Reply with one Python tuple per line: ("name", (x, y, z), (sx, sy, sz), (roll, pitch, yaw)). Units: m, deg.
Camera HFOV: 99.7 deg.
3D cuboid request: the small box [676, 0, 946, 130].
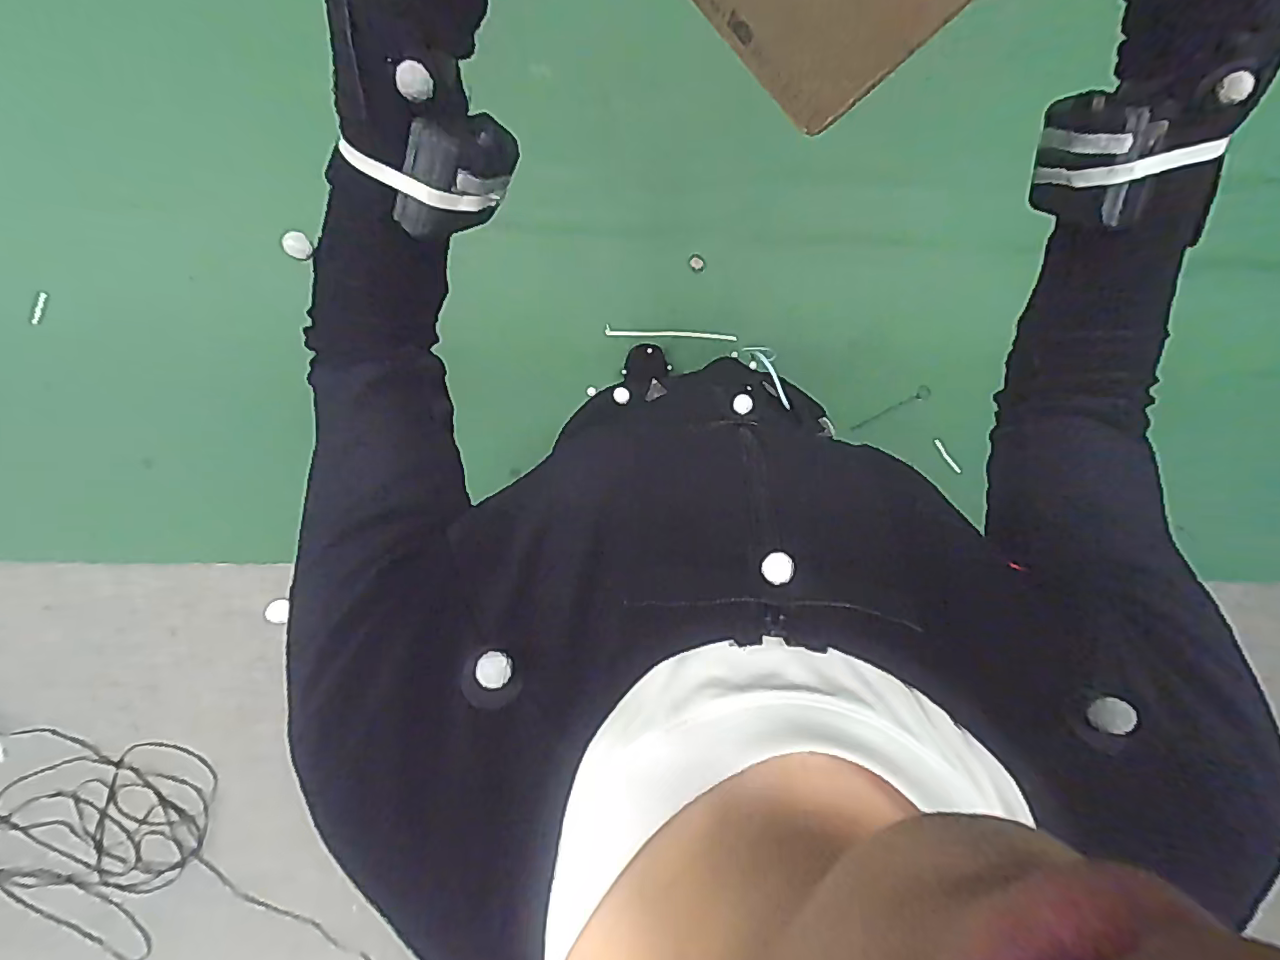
("small box", (0.091, -0.274, 0.184), (0.168, 0.176, 0.179), (43, 98, -13))
